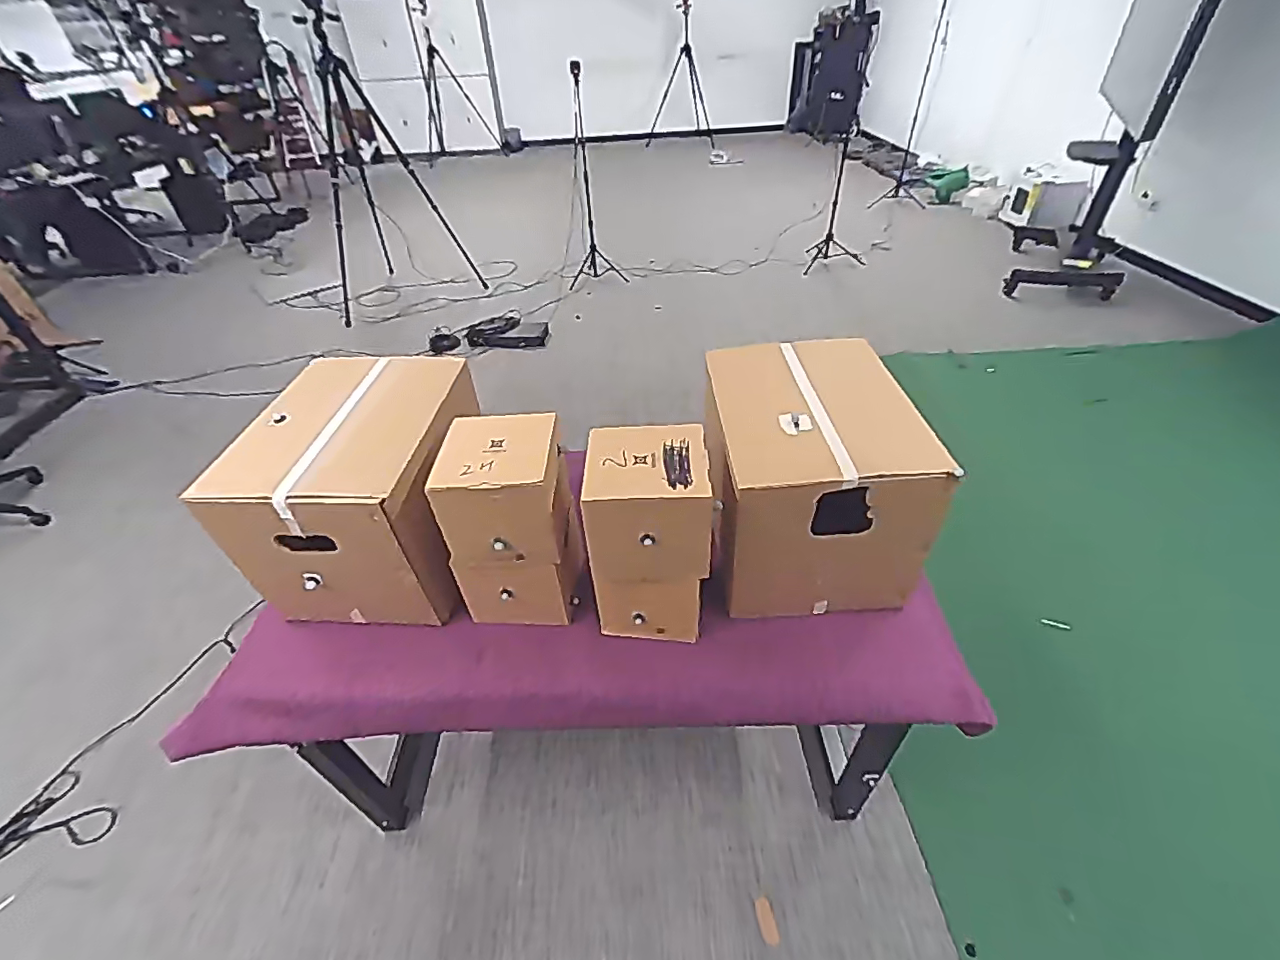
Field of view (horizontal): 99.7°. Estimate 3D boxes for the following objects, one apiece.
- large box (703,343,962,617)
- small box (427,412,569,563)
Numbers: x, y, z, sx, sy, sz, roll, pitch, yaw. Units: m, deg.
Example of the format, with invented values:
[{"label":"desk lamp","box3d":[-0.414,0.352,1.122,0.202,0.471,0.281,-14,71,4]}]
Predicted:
[{"label":"large box","box3d":[0.295,-0.011,0.992,0.320,0.320,0.408,-5,41,2]},{"label":"small box","box3d":[-0.209,0.011,0.853,0.168,0.176,0.179,-3,41,2]}]
